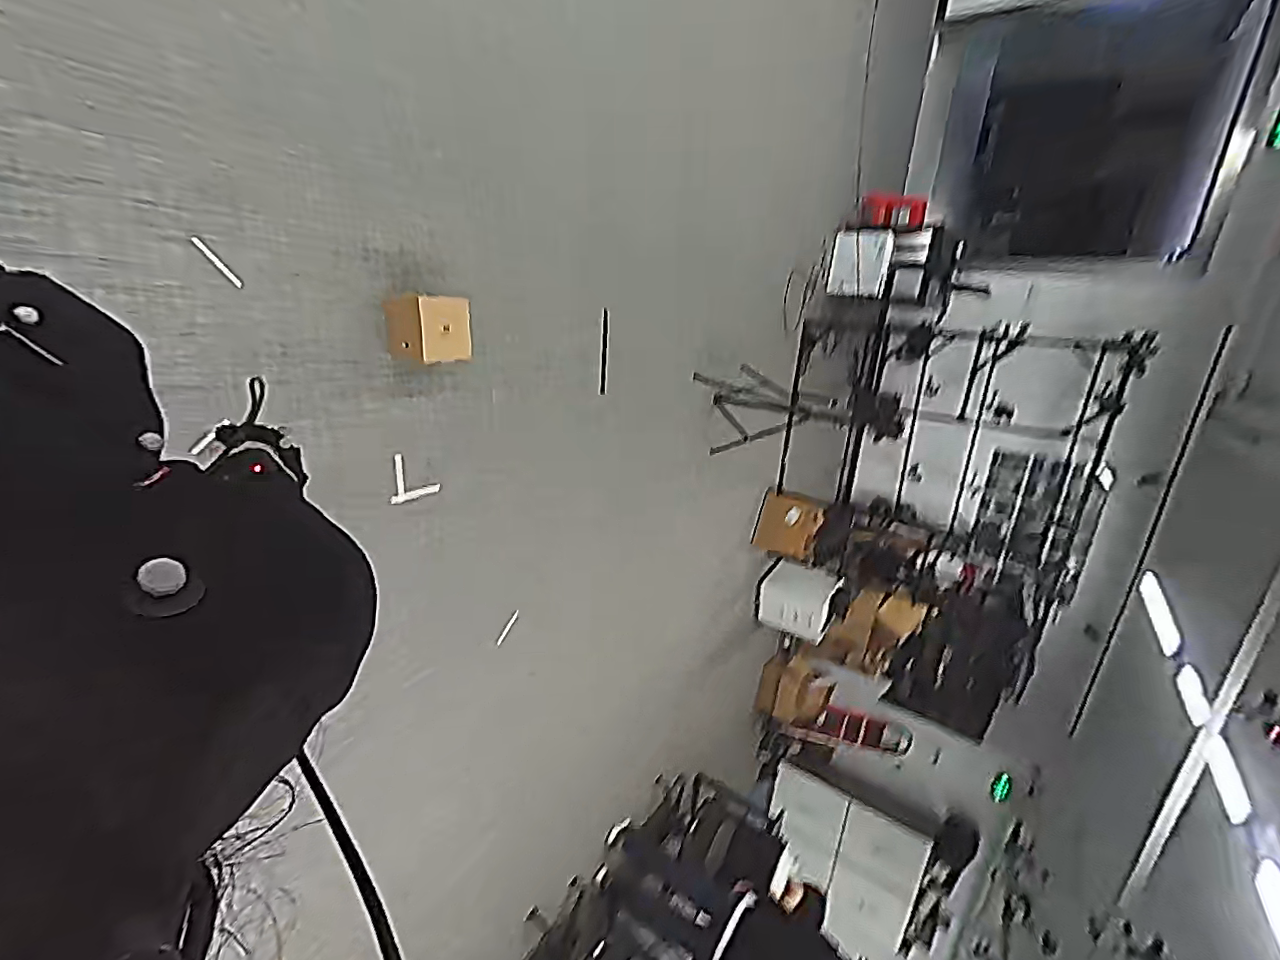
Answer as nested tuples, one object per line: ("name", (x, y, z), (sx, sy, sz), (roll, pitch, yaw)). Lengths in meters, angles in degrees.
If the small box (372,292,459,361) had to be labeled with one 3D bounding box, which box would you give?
("small box", (-0.649, -0.447, 1.568), (0.168, 0.176, 0.179), (-24, 123, -52))
